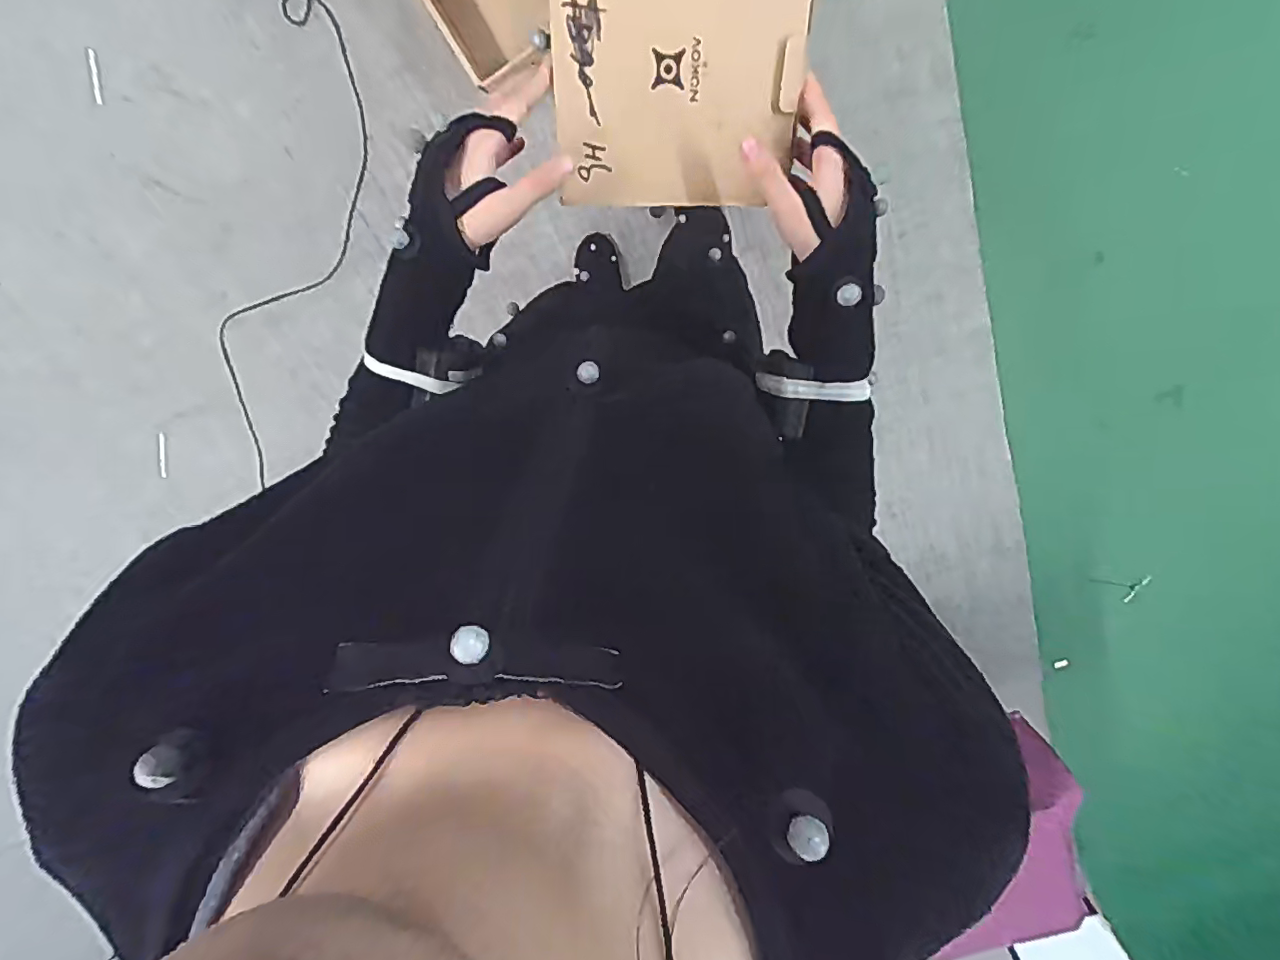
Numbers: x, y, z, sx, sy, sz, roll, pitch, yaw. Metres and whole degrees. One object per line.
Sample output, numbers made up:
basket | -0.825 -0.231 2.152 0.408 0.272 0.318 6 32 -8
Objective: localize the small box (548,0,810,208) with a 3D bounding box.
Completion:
small box | 0.019 -0.322 0.440 0.179 0.176 0.168 -1 121 -4
